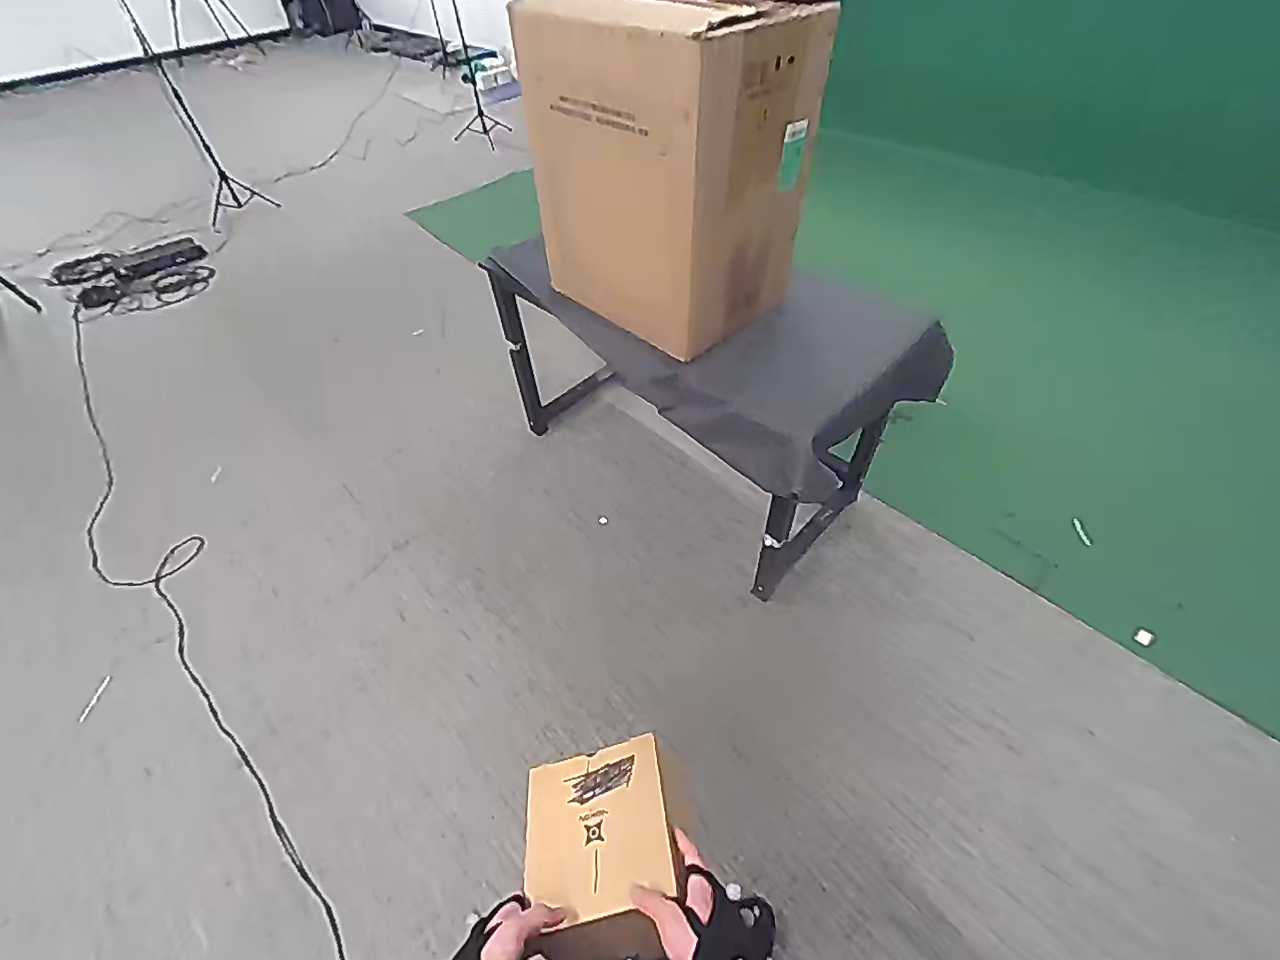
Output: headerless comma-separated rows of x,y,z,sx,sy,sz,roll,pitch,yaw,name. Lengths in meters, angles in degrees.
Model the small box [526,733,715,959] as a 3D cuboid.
-0.022,0.446,0.645,0.168,0.176,0.179,-19,32,3,small box
